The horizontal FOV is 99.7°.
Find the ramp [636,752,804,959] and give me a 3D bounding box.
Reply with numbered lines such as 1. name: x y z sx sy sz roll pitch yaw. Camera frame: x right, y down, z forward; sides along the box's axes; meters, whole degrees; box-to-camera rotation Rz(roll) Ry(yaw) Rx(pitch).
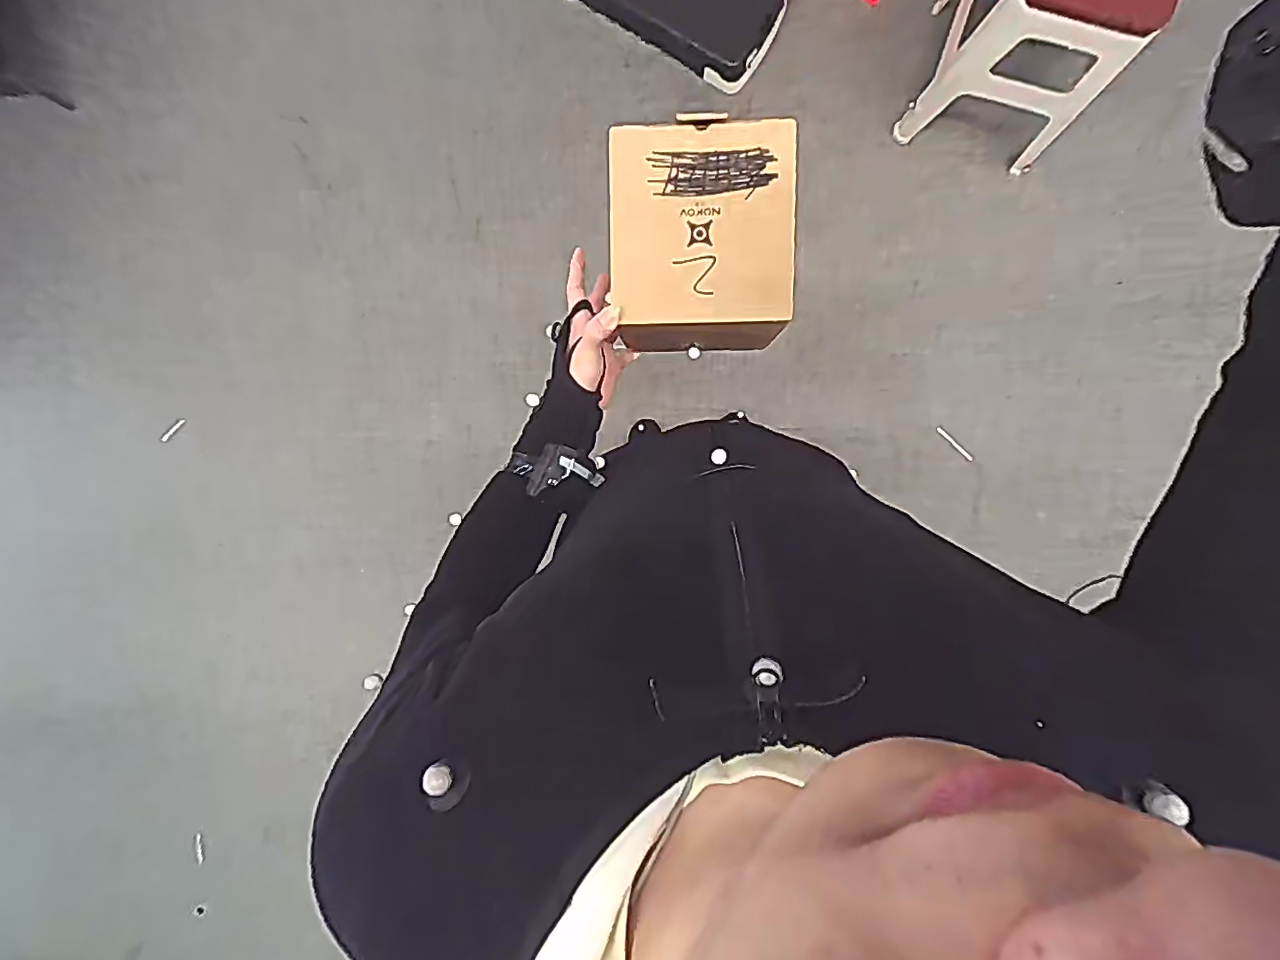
1. ramp: 0.243 1.346 1.637 0.509 0.206 0.991 -4 94 5
